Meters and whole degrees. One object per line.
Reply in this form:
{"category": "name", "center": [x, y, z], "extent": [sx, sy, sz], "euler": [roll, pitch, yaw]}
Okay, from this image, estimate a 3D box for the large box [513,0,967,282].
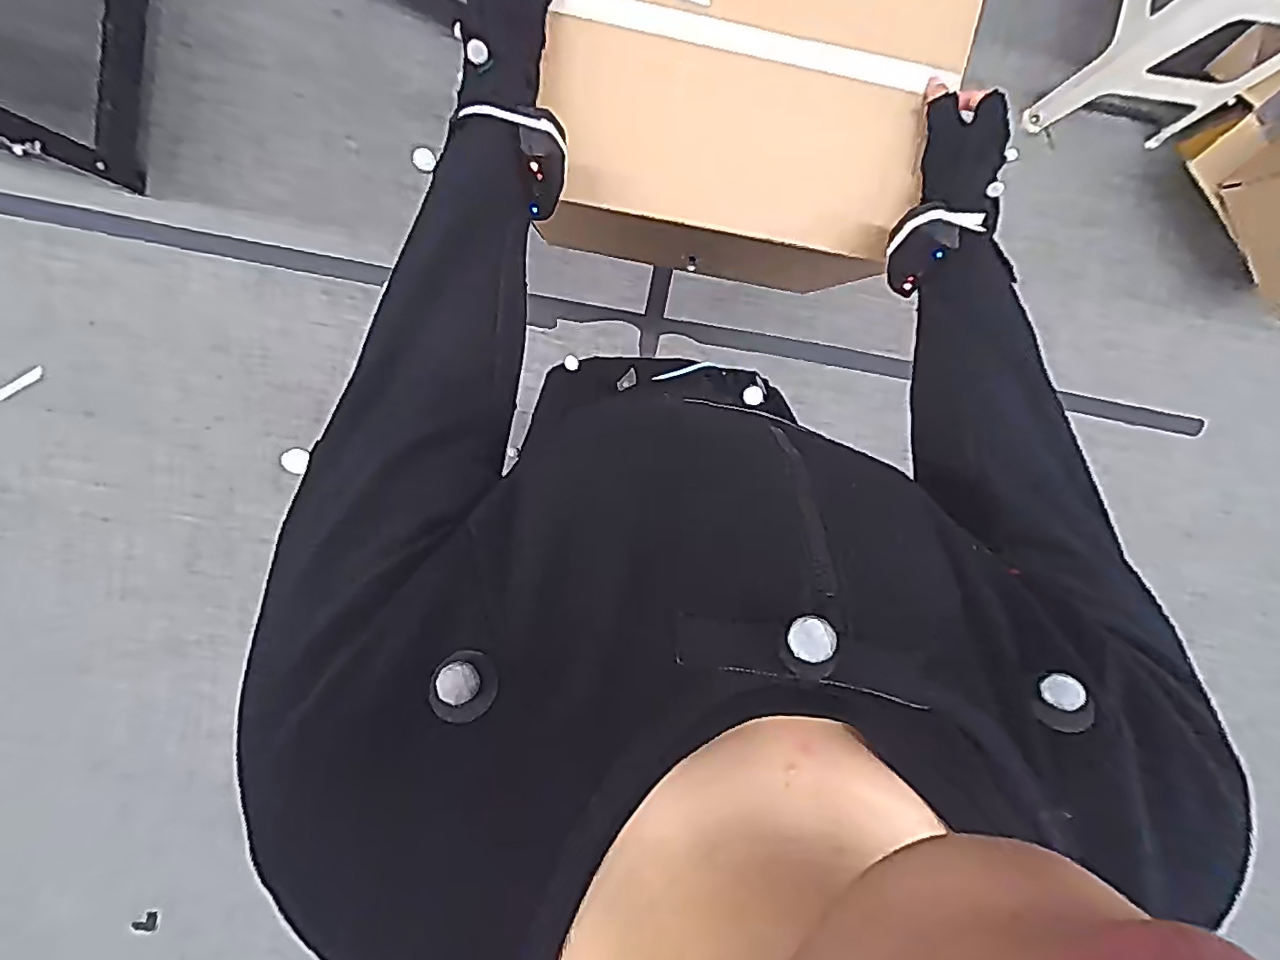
{"category": "large box", "center": [0.090, -0.437, 0.645], "extent": [0.408, 0.320, 0.320], "euler": [9, 103, -5]}
